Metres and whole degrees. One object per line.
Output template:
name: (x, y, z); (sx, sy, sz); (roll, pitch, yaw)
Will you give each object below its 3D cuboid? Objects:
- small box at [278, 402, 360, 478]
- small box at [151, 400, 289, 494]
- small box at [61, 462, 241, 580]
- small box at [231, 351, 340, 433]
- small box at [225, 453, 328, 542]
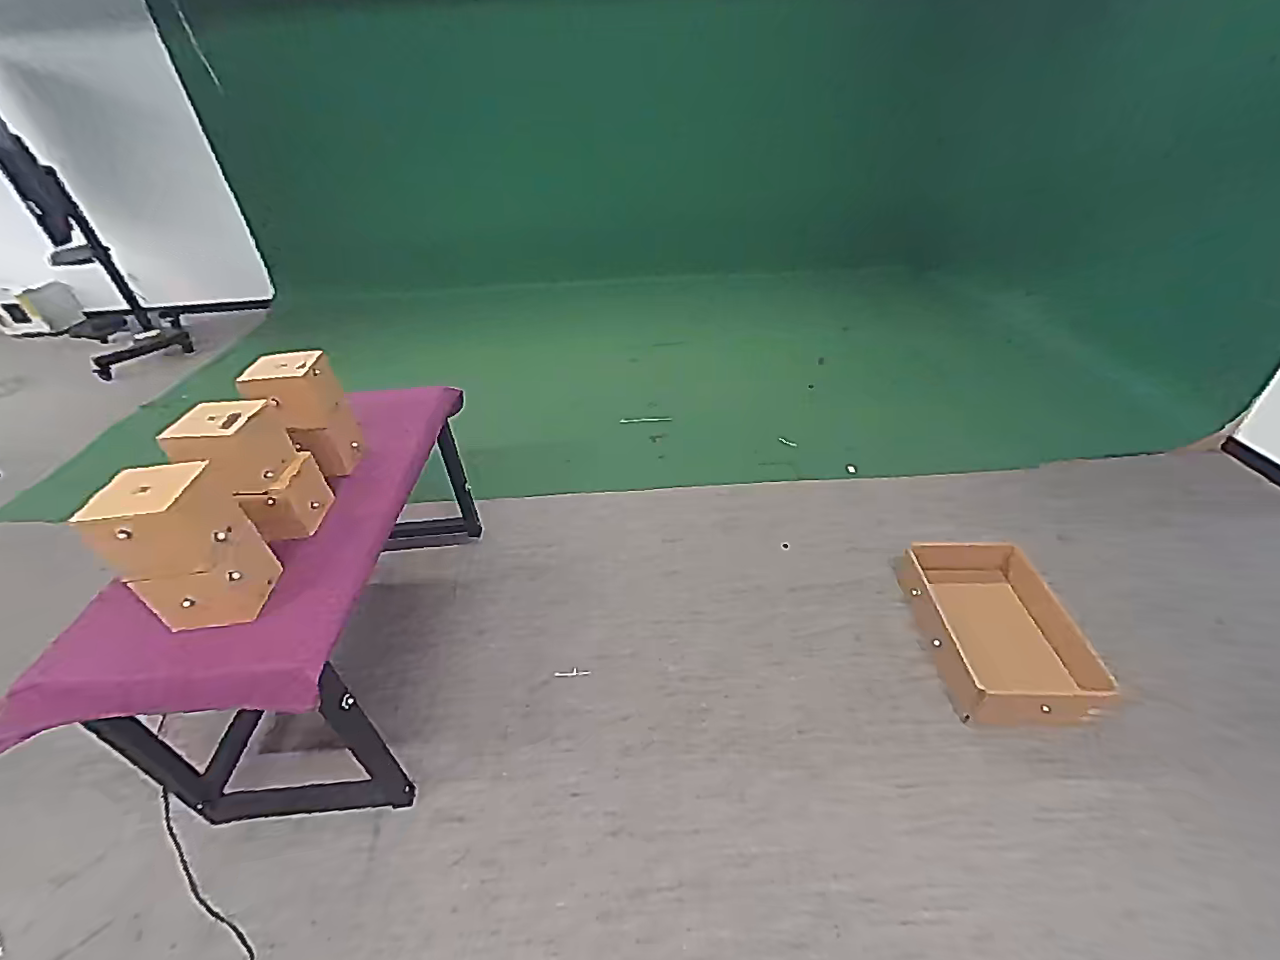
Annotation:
small box: (-0.980, -0.115, 1.626); (0.179, 0.176, 0.168); (-6, 38, -3)
small box: (-1.001, -0.077, 1.311); (0.179, 0.176, 0.168); (-3, 37, 1)
small box: (-0.970, 0.085, 1.094); (0.179, 0.176, 0.168); (-6, 38, -3)
small box: (-0.989, -0.245, 1.527); (0.179, 0.176, 0.168); (-7, 38, -3)
small box: (-0.964, 0.047, 1.417); (0.179, 0.176, 0.168); (-4, 37, -3)
